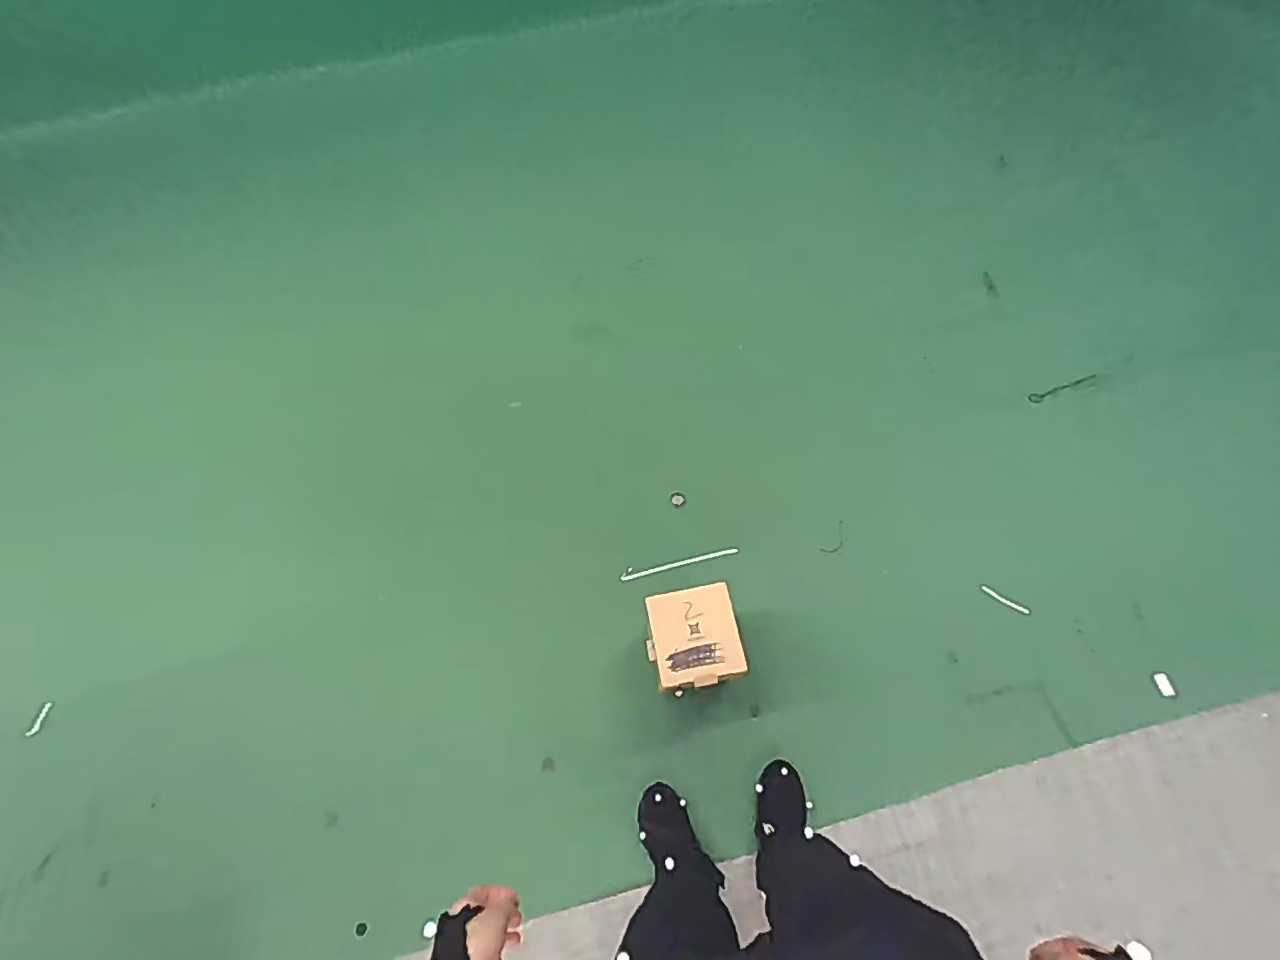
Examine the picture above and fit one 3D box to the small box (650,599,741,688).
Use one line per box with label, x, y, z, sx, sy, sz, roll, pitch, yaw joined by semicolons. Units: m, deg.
small box;0.121;0.385;1.260;0.179;0.176;0.168;-11;67;-2
